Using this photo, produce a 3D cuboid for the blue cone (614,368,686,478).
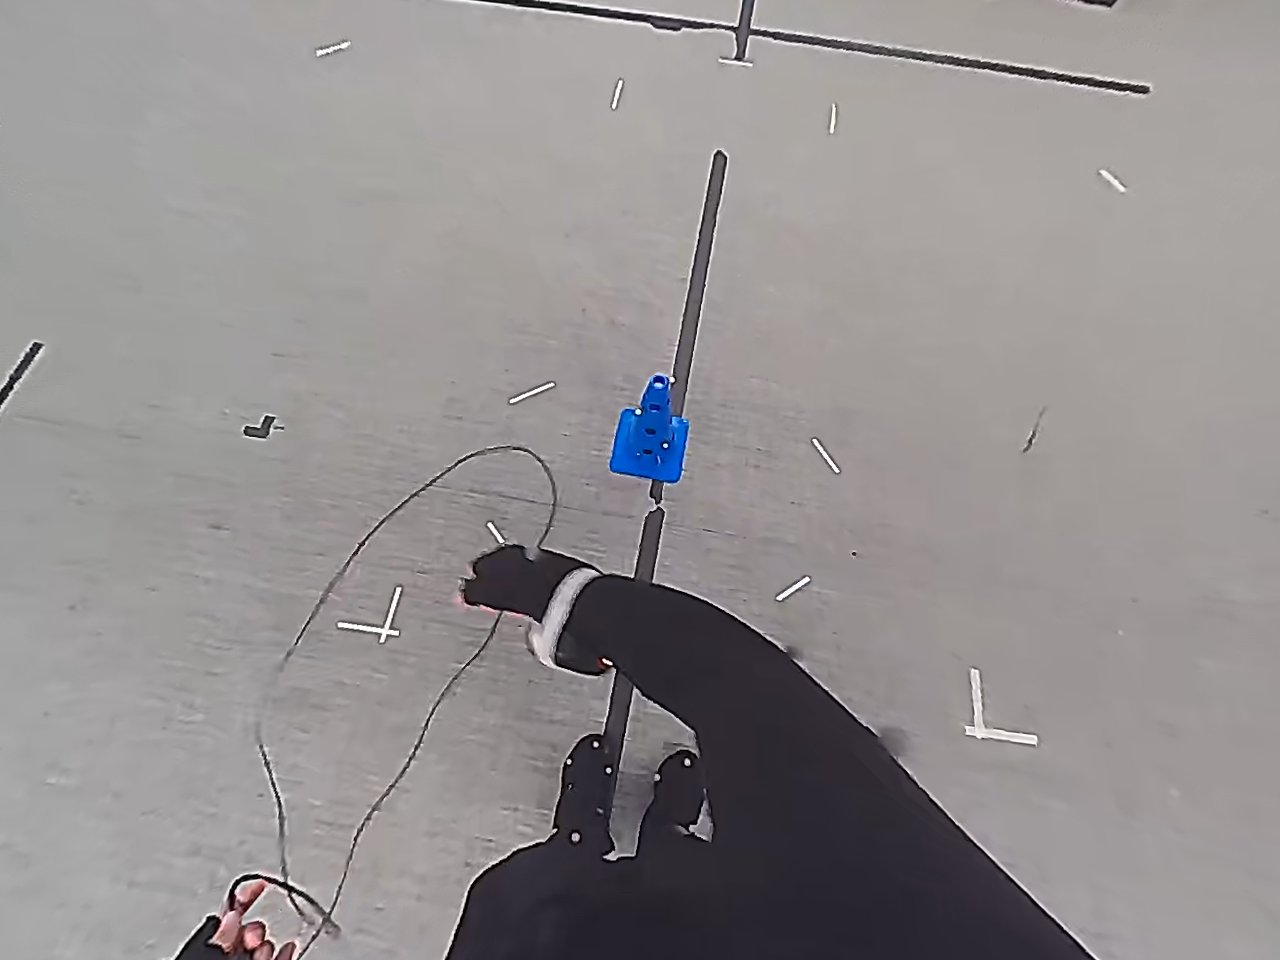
[{"bbox_3d":[0.033,-0.155,1.341,0.193,0.380,0.192,9,70,2],"label":"blue cone"}]
